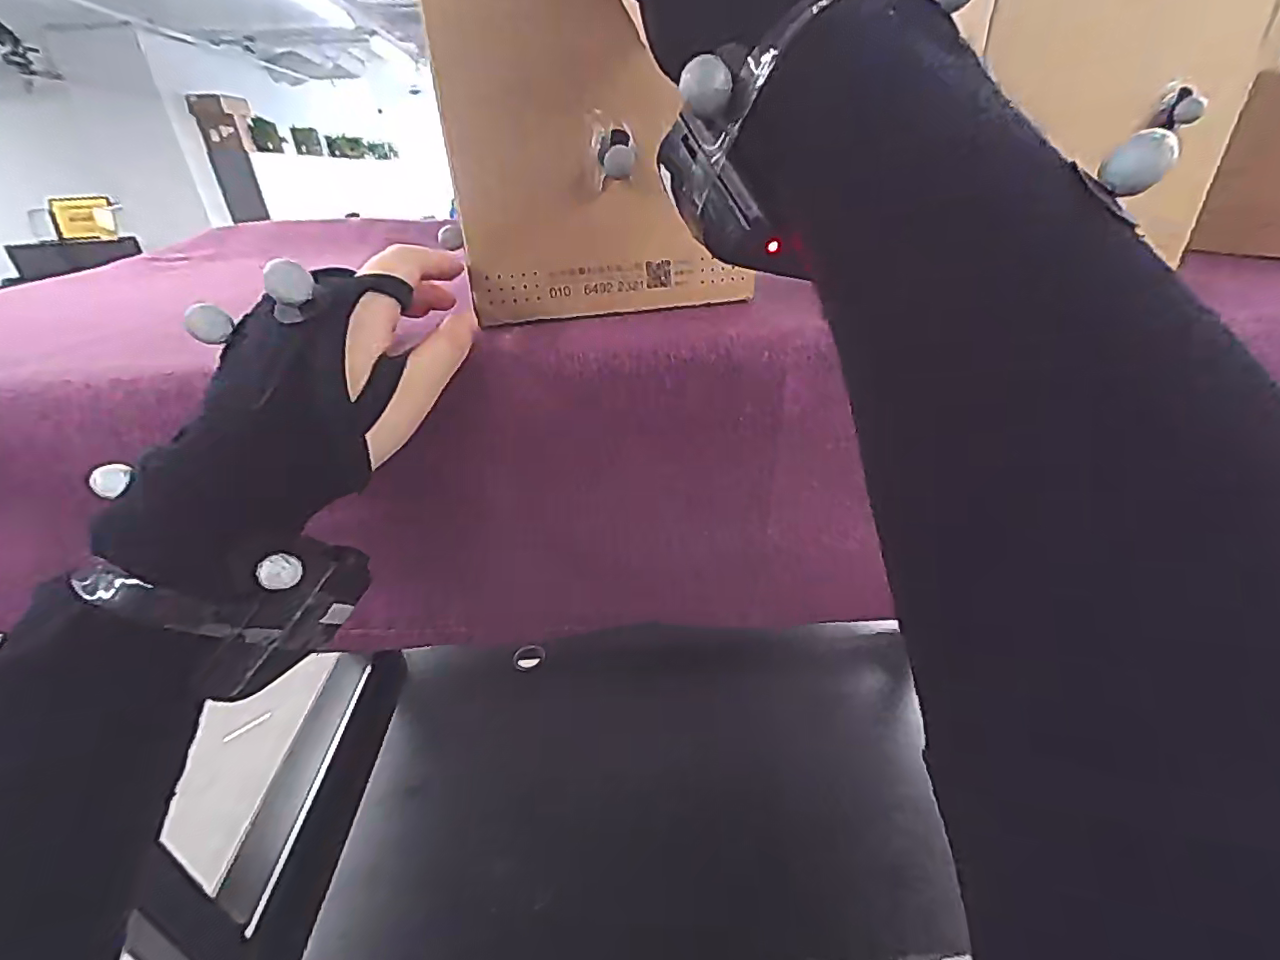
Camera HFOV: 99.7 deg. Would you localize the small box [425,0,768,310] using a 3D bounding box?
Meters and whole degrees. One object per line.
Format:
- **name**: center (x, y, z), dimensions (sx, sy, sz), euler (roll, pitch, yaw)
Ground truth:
- **small box**: center (-0.028, -0.209, 0.341), dimensions (0.168, 0.176, 0.179), euler (-9, 30, -11)
